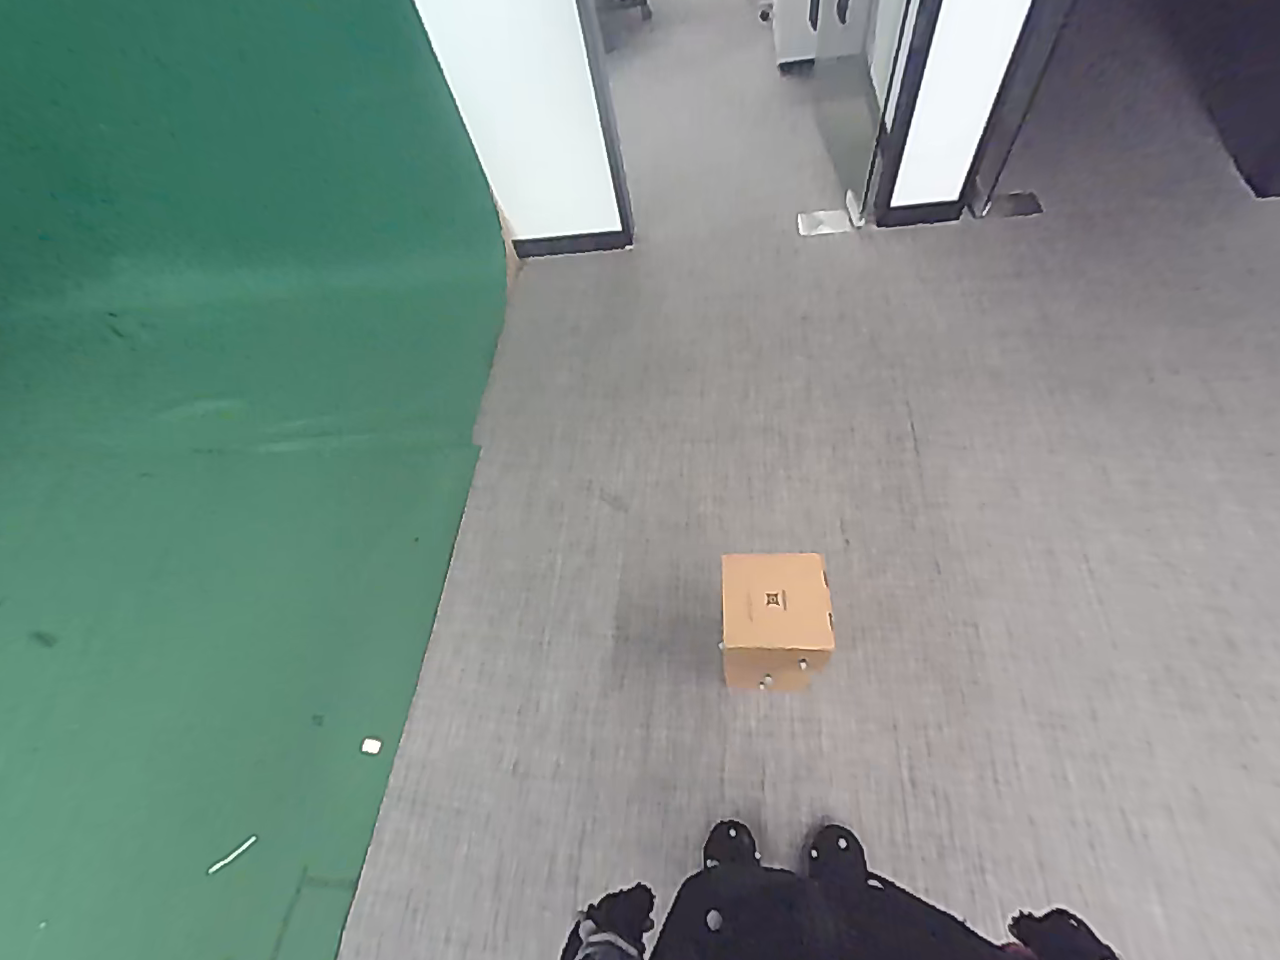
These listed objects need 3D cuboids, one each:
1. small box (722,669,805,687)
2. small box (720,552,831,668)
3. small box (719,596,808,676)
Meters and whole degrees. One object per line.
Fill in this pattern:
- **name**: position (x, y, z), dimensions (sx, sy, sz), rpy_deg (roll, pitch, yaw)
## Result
- **small box**: position (0.283, 0.384, 1.265), dimensions (0.179, 0.176, 0.168), rpy_deg (-1, 60, 11)
- **small box**: position (0.235, 0.238, 0.977), dimensions (0.179, 0.176, 0.168), rpy_deg (-3, 59, 10)
- **small box**: position (0.255, 0.307, 1.124), dimensions (0.179, 0.176, 0.168), rpy_deg (-2, 60, 8)
